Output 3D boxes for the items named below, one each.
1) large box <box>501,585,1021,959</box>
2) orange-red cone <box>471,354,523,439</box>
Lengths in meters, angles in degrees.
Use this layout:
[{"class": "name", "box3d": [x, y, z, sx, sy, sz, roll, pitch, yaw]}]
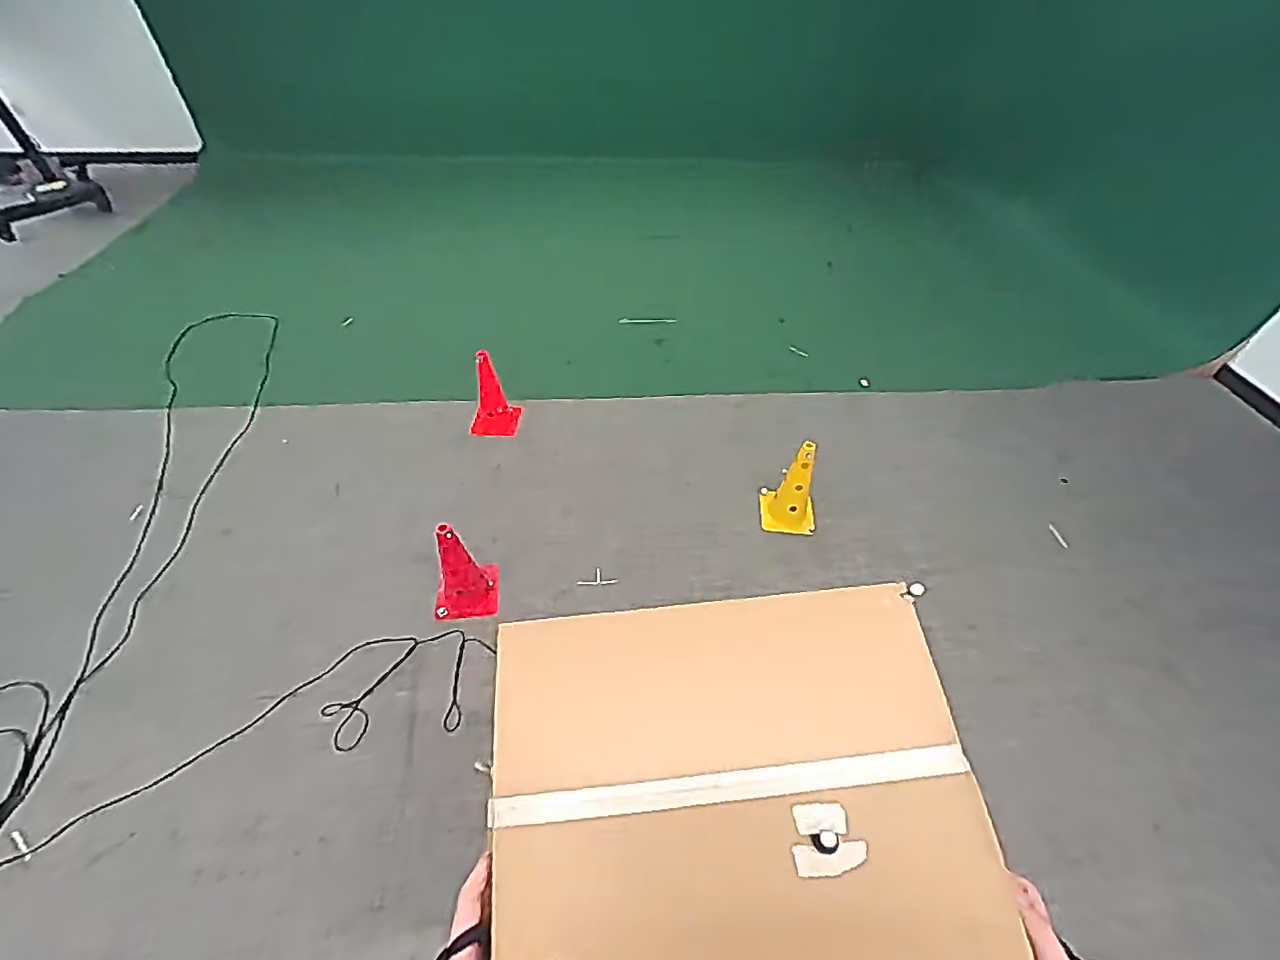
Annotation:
[{"class": "large box", "box3d": [0.079, 0.333, 0.600, 0.408, 0.320, 0.320, -6, 62, -2]}, {"class": "orange-red cone", "box3d": [-0.633, -0.369, 2.273, 0.199, 0.360, 0.198, 3, 47, 3]}]
